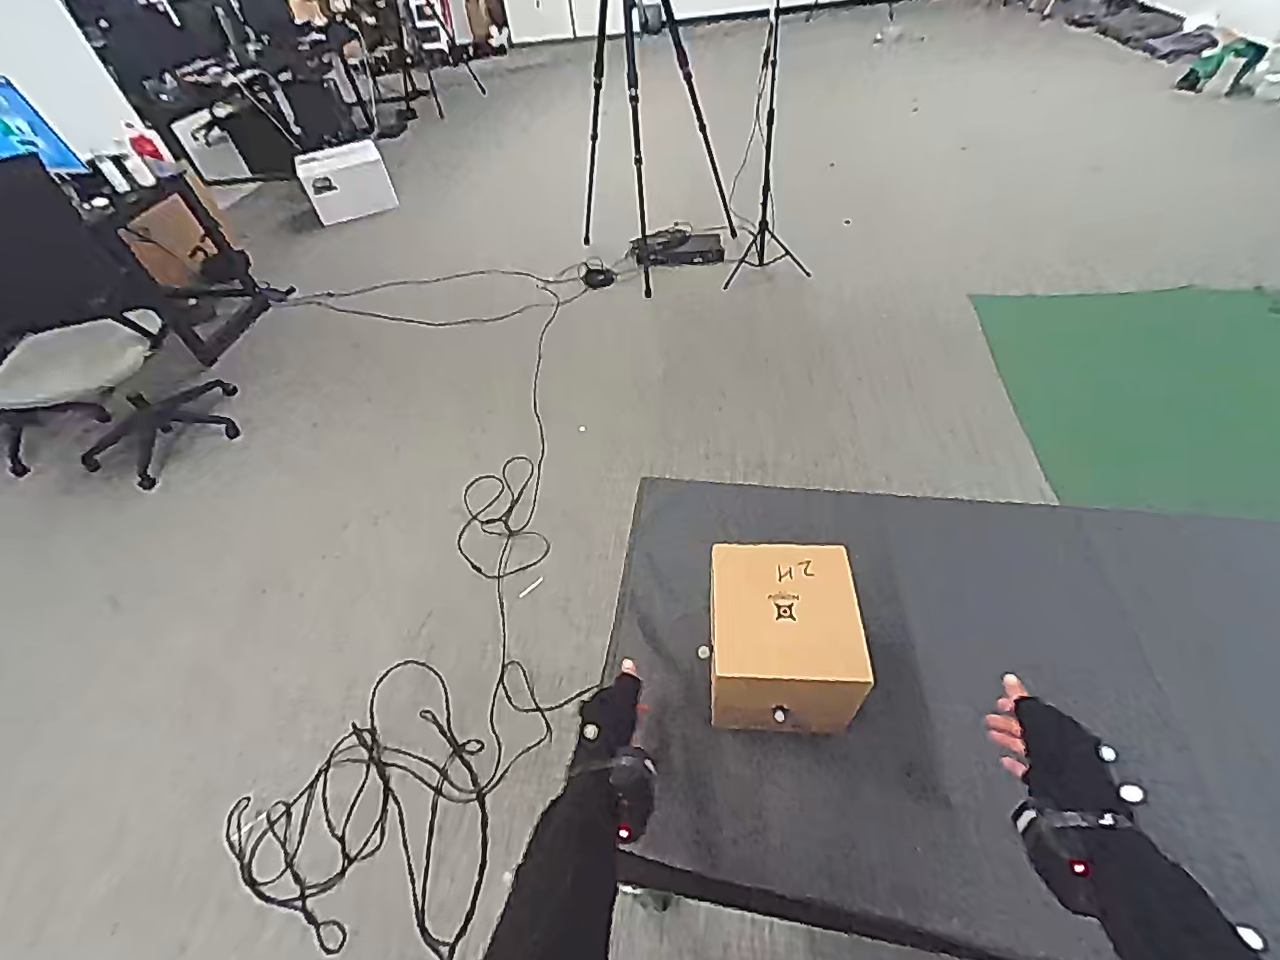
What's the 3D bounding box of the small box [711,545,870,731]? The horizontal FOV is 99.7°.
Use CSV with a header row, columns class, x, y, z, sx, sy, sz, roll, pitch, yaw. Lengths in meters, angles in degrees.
class,x,y,z,sx,sy,sz,roll,pitch,yaw
small box,0.175,0.201,0.684,0.168,0.176,0.179,0,47,6
